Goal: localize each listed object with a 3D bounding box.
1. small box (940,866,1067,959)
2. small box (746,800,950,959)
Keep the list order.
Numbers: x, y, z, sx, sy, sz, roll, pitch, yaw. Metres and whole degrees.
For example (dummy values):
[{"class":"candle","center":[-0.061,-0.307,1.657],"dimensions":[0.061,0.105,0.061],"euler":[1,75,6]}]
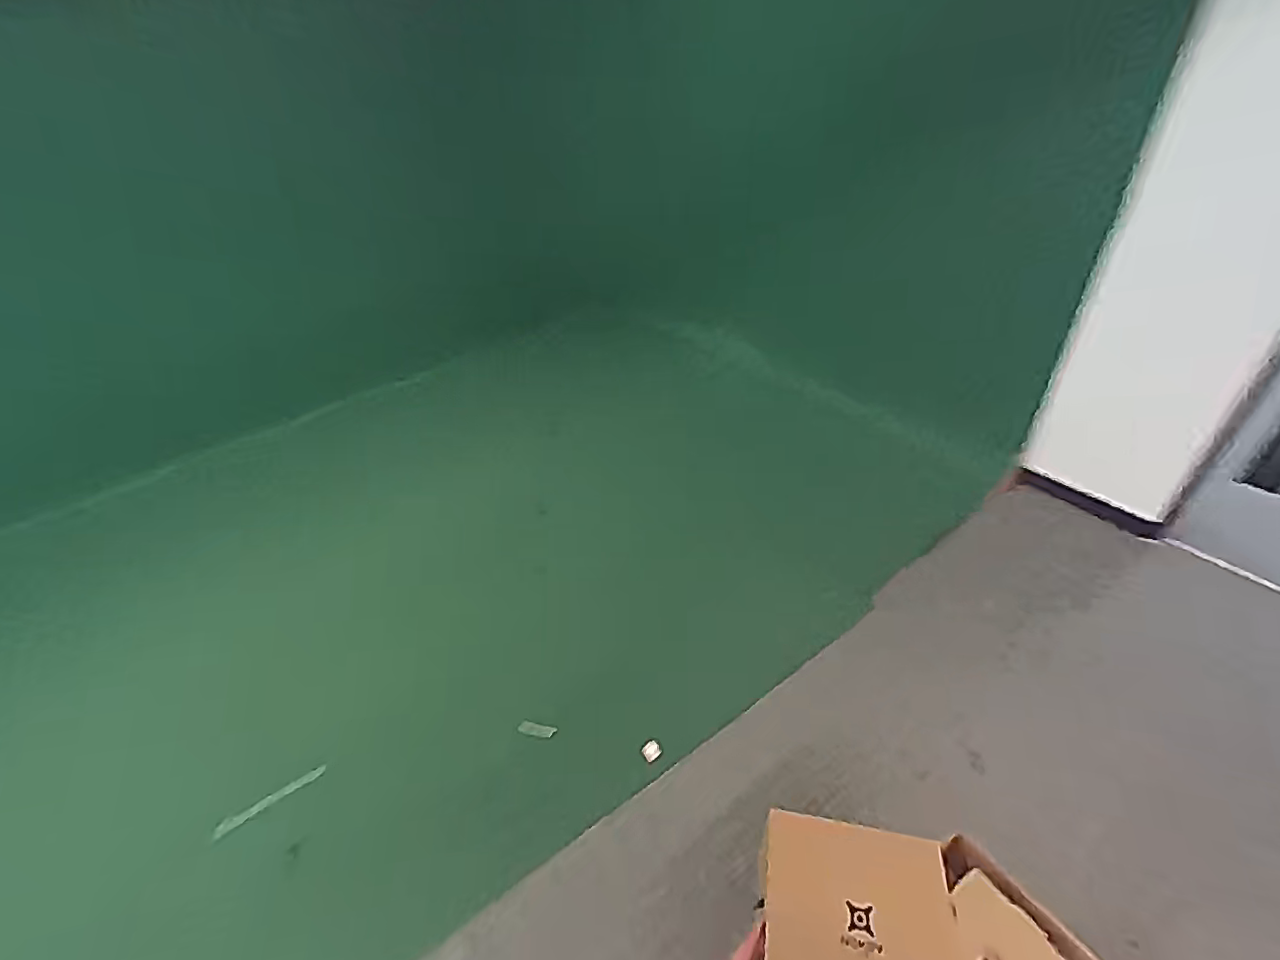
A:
[{"class":"small box","center":[0.505,0.737,0.815],"dimensions":[0.179,0.176,0.168],"euler":[-26,43,-19]},{"class":"small box","center":[0.196,0.460,0.545],"dimensions":[0.168,0.176,0.179],"euler":[4,44,11]}]
